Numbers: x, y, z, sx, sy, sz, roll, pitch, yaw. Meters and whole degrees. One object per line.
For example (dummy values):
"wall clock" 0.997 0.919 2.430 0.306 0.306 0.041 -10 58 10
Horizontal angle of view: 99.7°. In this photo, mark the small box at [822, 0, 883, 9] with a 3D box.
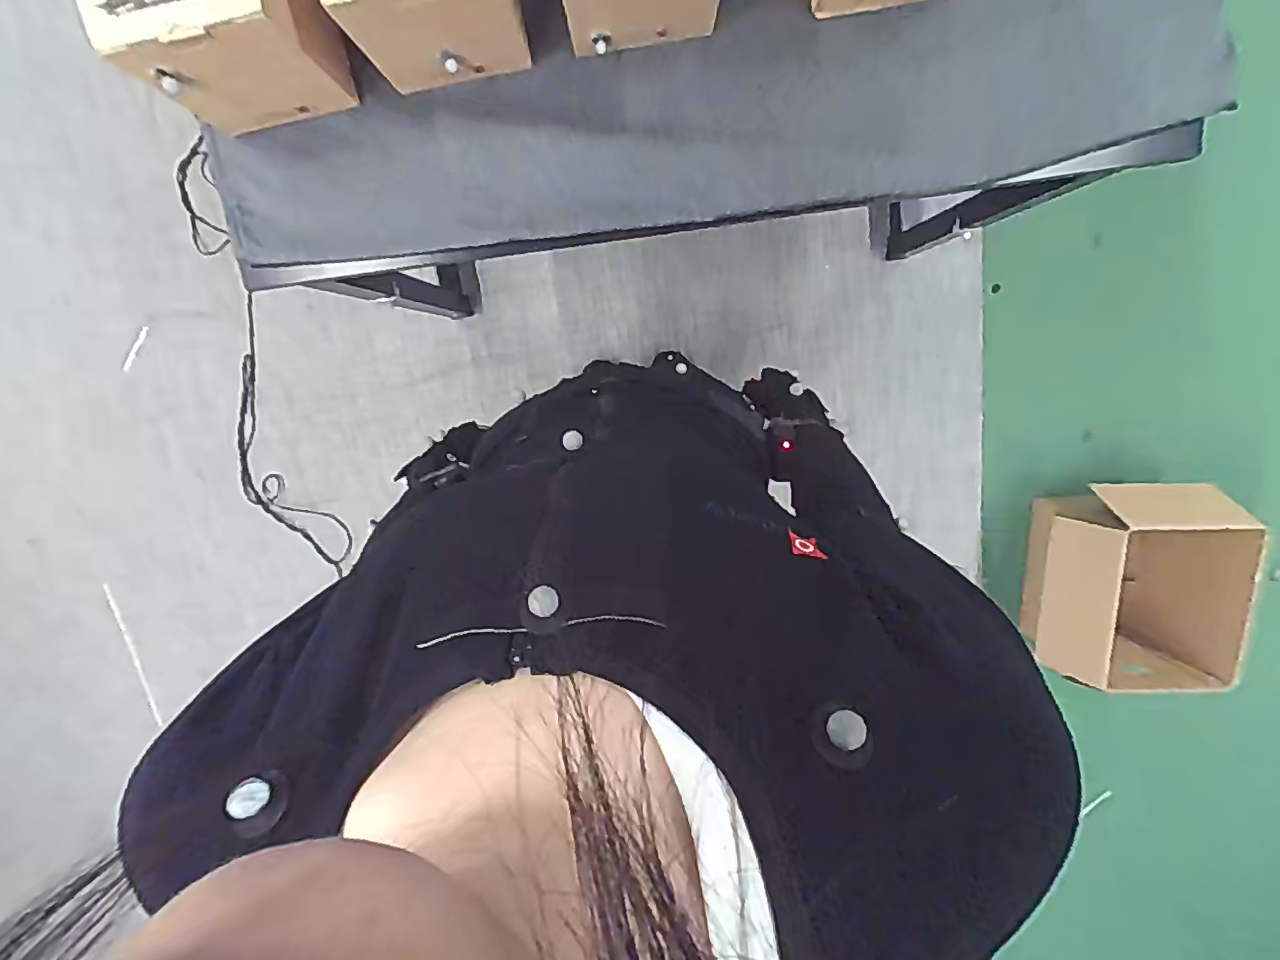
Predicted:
"small box" 0.270 -0.622 0.530 0.168 0.176 0.179 -8 103 2
